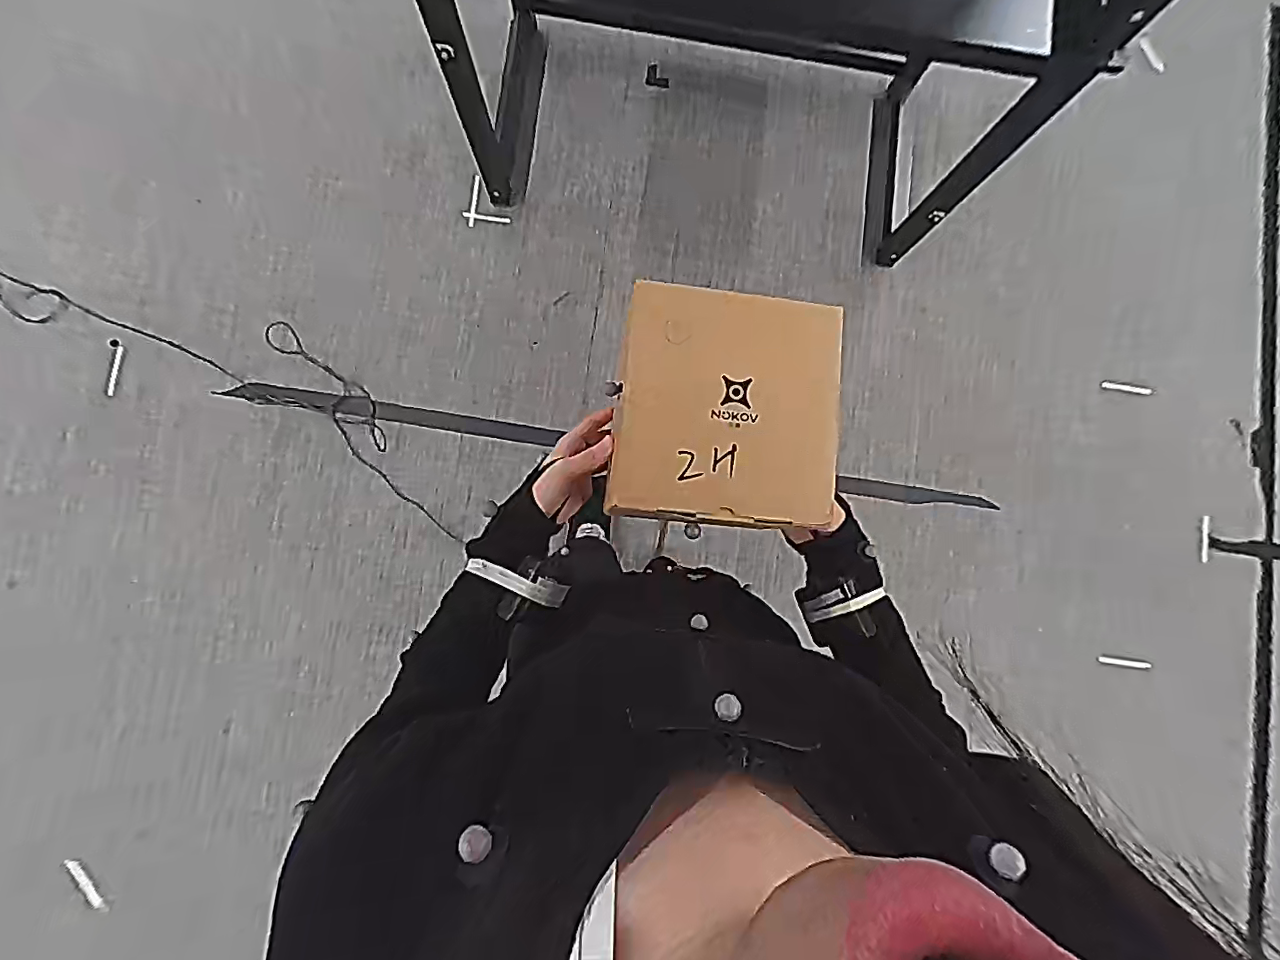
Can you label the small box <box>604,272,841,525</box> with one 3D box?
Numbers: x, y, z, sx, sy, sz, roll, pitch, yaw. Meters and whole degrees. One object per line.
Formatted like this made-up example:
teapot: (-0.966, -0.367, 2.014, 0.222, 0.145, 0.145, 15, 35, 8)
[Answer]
small box: (0.059, -0.055, 0.482, 0.168, 0.176, 0.179, 6, 85, -6)
